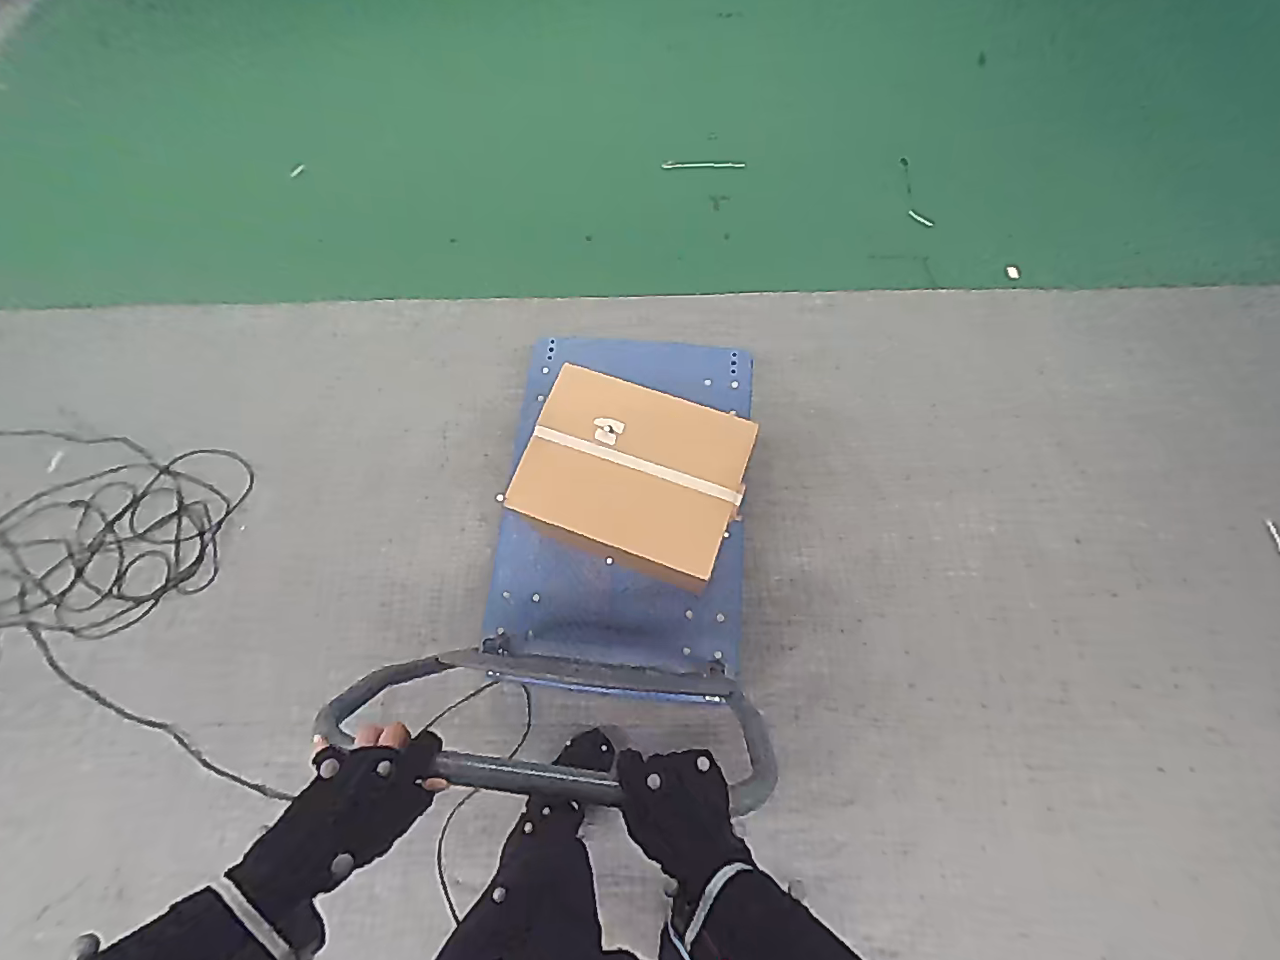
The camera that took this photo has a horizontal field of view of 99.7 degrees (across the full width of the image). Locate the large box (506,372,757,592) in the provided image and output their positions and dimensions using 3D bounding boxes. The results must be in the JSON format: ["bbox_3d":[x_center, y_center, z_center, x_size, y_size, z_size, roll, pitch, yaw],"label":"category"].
[{"bbox_3d":[-0.003,0.023,1.152,0.408,0.320,0.320,19,76,9],"label":"large box"}]
